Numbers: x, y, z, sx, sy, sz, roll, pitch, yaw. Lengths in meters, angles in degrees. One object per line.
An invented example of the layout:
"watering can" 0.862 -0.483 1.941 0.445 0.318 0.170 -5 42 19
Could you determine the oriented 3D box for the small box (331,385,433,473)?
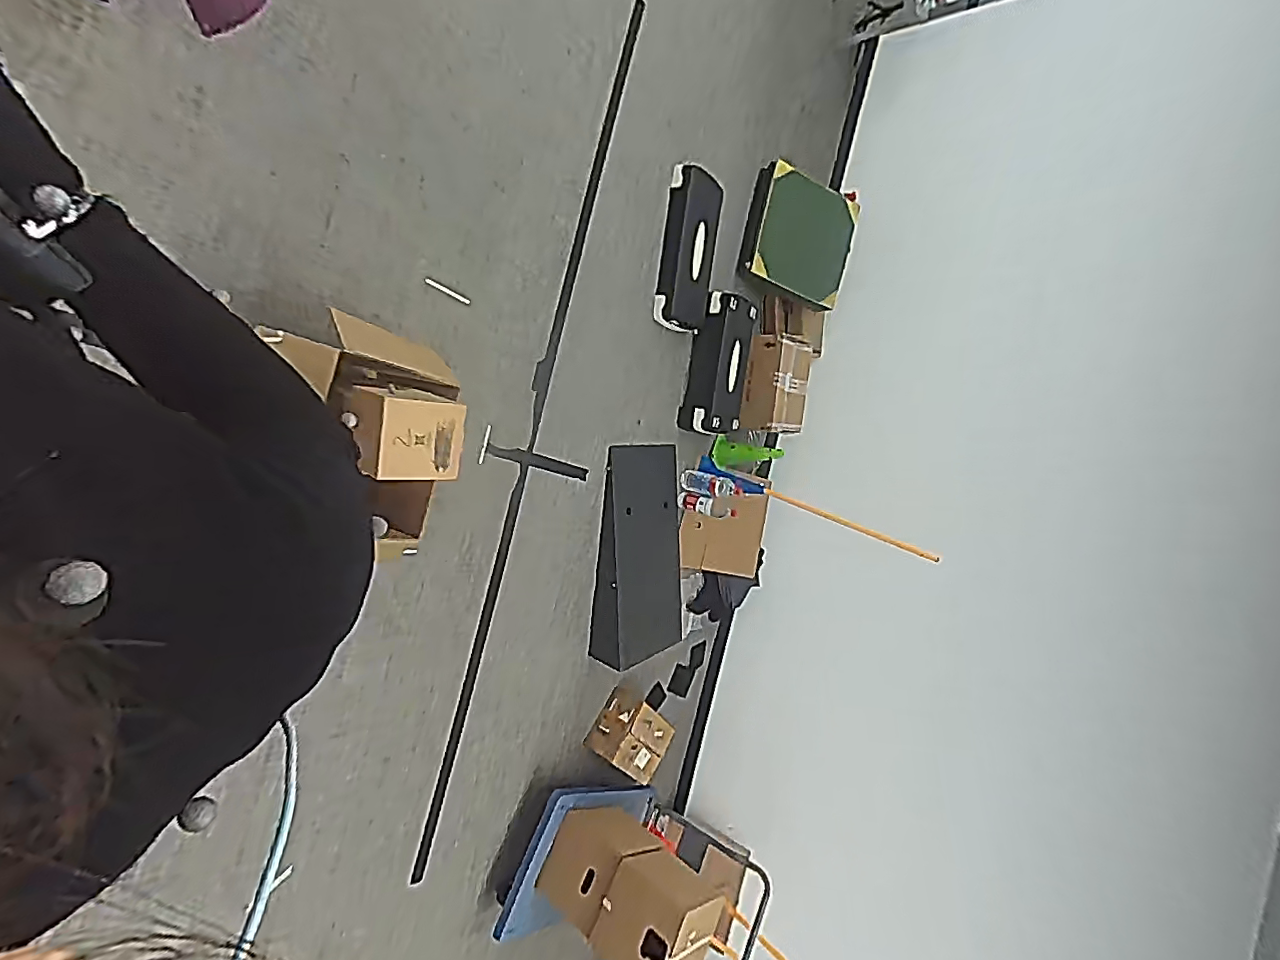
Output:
"small box" -0.610 -0.130 1.278 0.168 0.176 0.179 -15 115 -45
